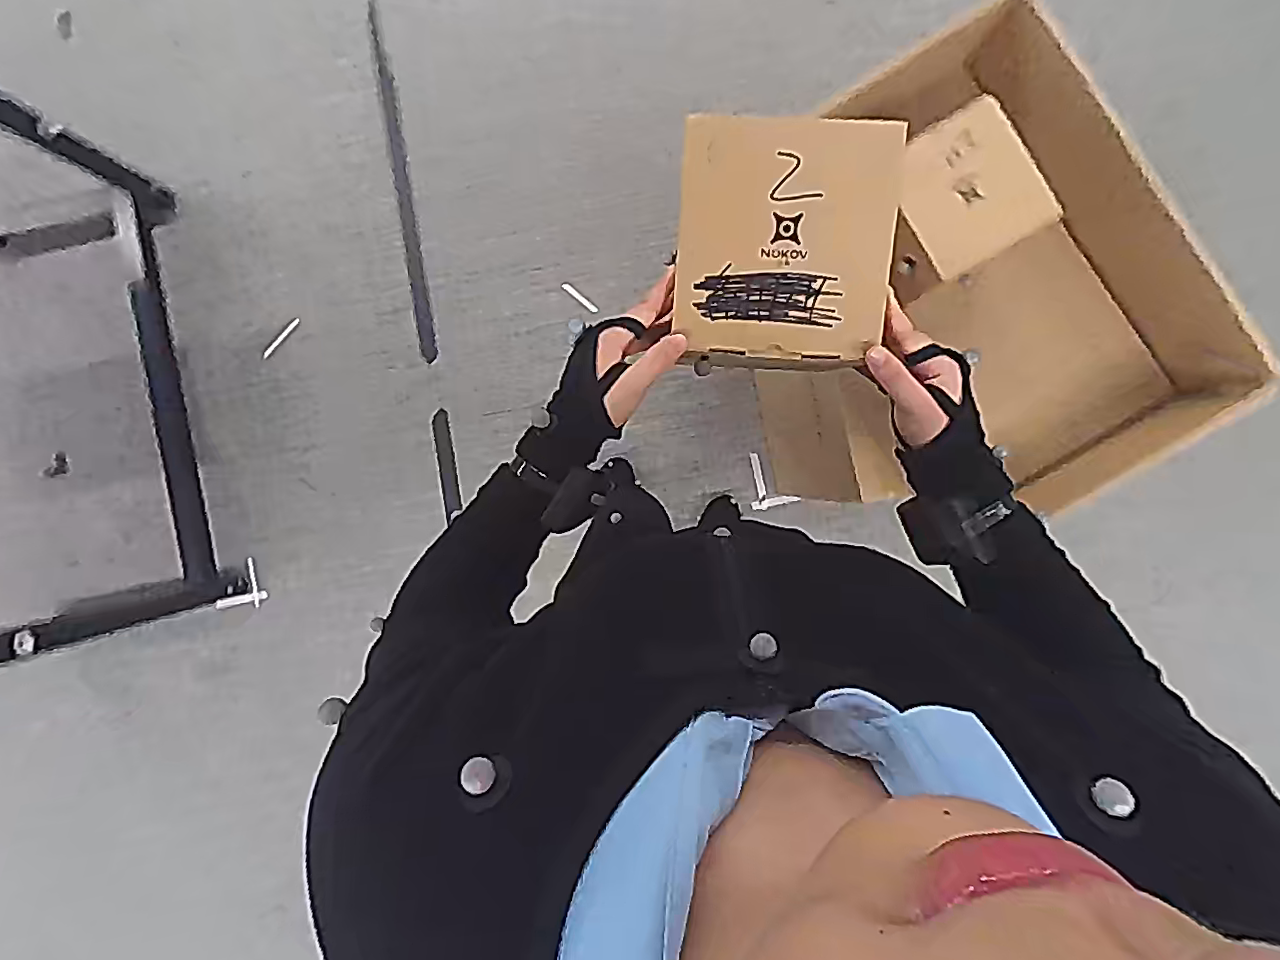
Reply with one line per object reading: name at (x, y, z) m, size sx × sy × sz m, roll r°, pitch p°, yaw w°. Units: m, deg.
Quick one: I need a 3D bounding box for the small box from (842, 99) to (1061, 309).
small box at (0.413, -0.359, 0.750) m, size 0.168 × 0.176 × 0.179 m, roll -30°, pitch 89°, yaw 3°
